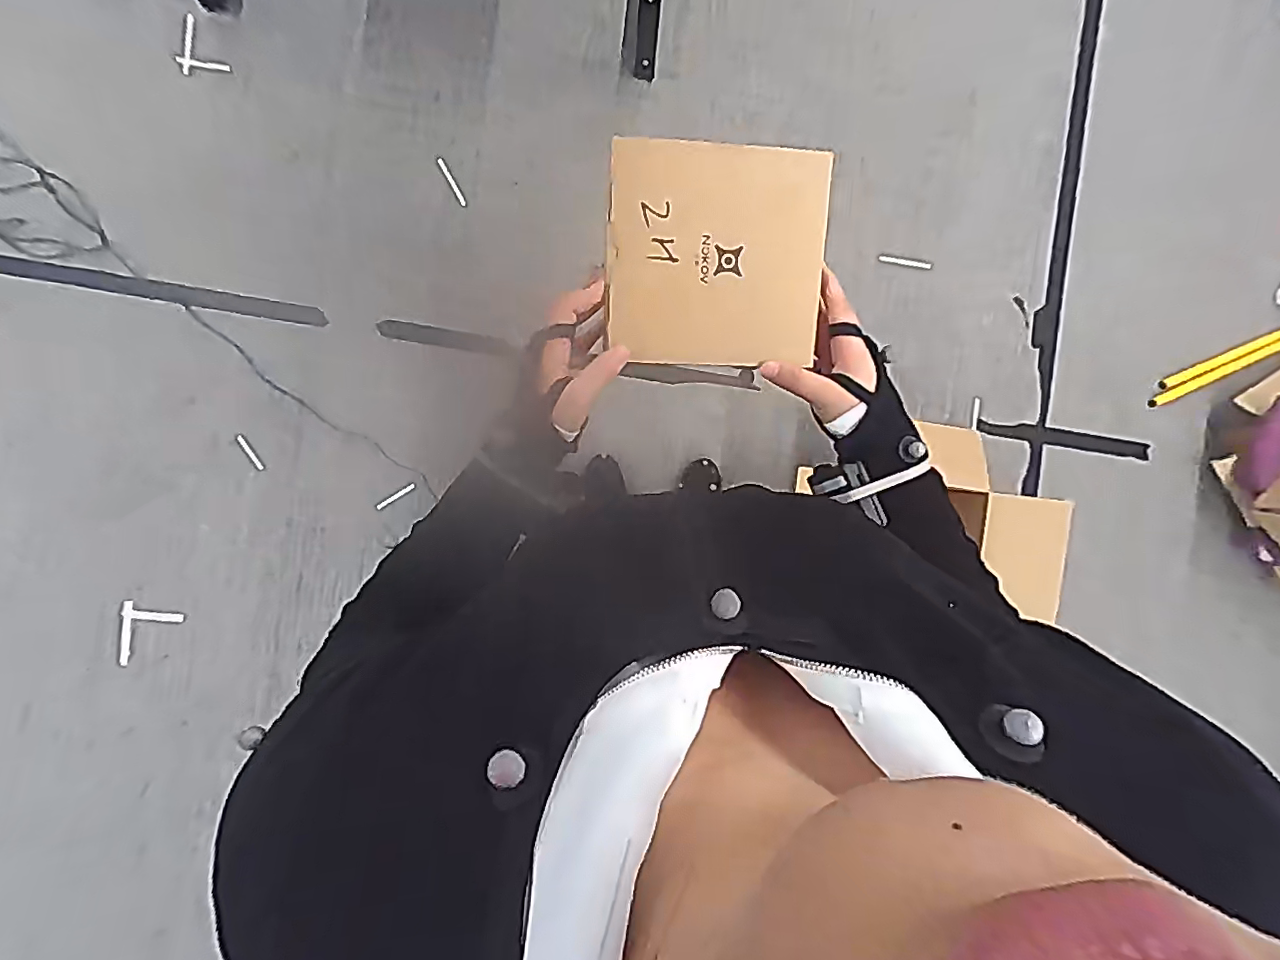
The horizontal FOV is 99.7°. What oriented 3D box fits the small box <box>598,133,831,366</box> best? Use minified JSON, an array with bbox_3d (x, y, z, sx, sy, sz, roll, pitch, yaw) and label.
[{"bbox_3d":[0.052,-0.196,0.506,0.179,0.176,0.168,1,103,-5],"label":"small box"}]
